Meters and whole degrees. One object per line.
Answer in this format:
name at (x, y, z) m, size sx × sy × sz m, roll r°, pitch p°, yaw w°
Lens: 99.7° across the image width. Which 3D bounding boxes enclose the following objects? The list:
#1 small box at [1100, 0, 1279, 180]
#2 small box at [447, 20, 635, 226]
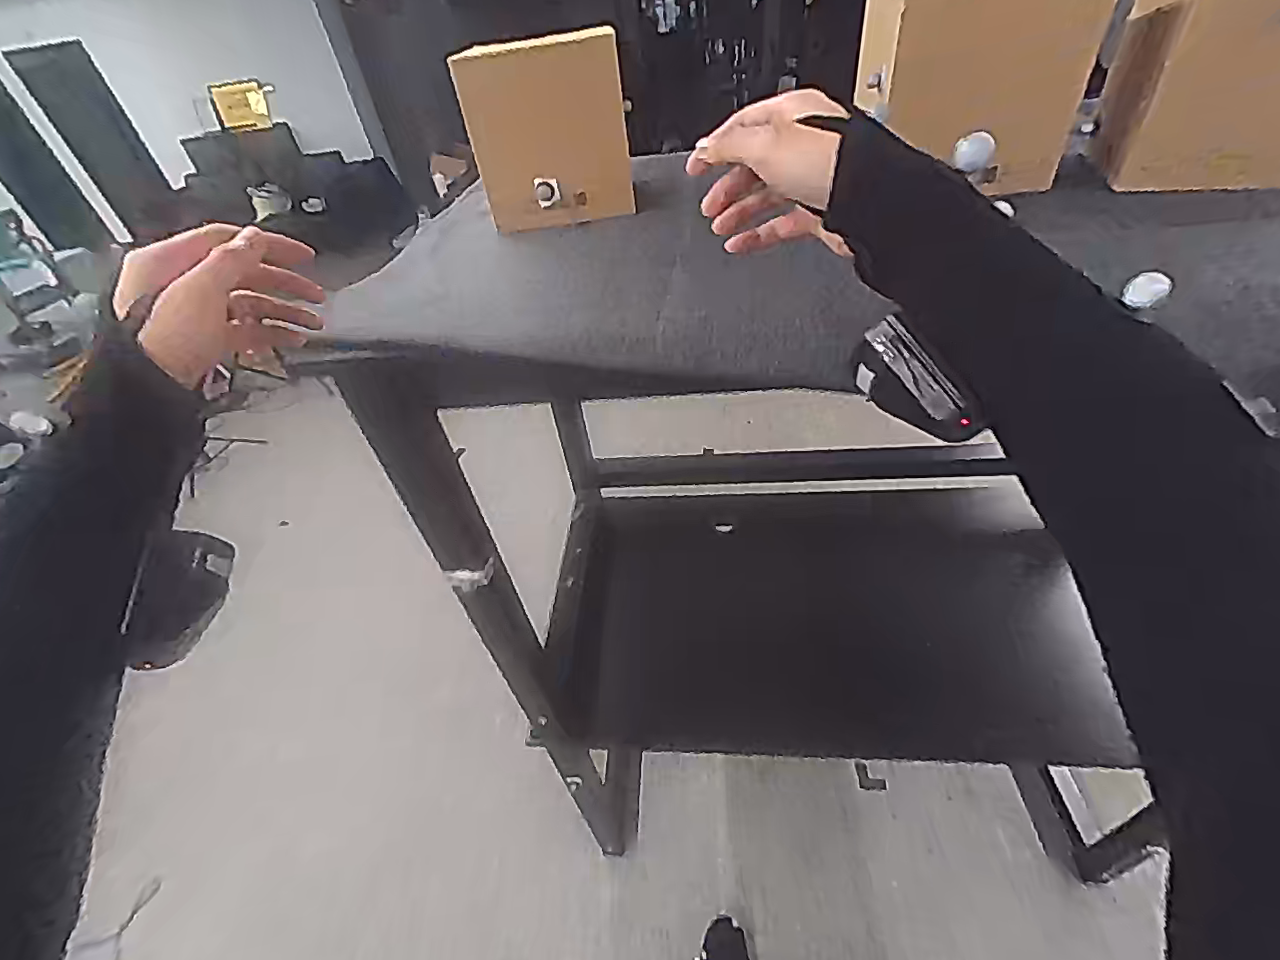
small box at (0.537, -0.368, 0.462) m, size 0.179 × 0.176 × 0.168 m, roll 9°, pitch 44°, yaw 19°
small box at (-0.101, -0.411, 0.626) m, size 0.168 × 0.176 × 0.179 m, roll -9°, pitch 41°, yaw 1°
